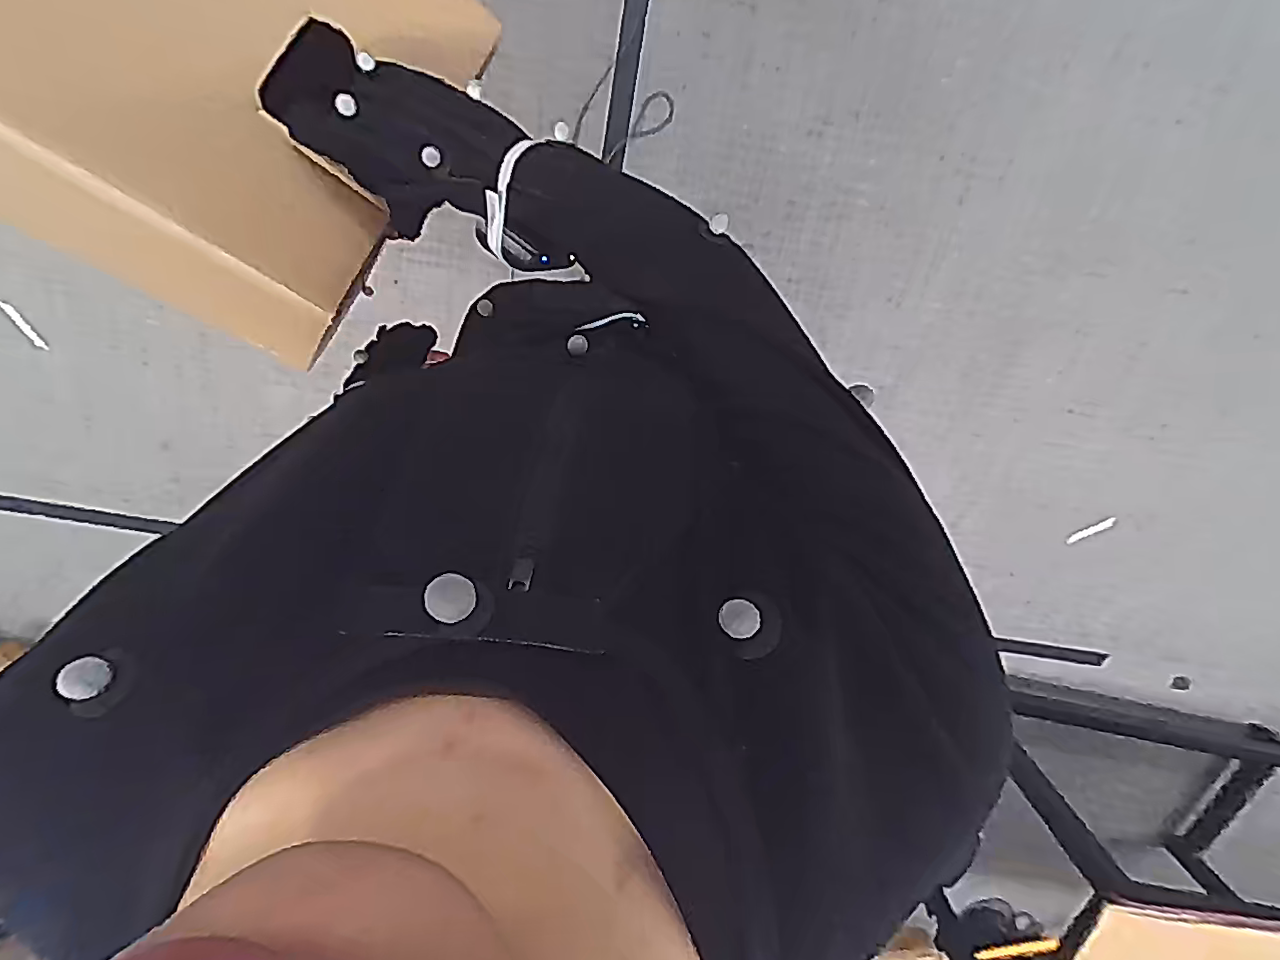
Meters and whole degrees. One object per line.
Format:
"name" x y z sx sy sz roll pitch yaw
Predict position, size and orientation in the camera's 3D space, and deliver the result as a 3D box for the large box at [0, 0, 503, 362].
"large box" -0.402 -0.352 0.552 0.320 0.408 0.320 33 76 -31
